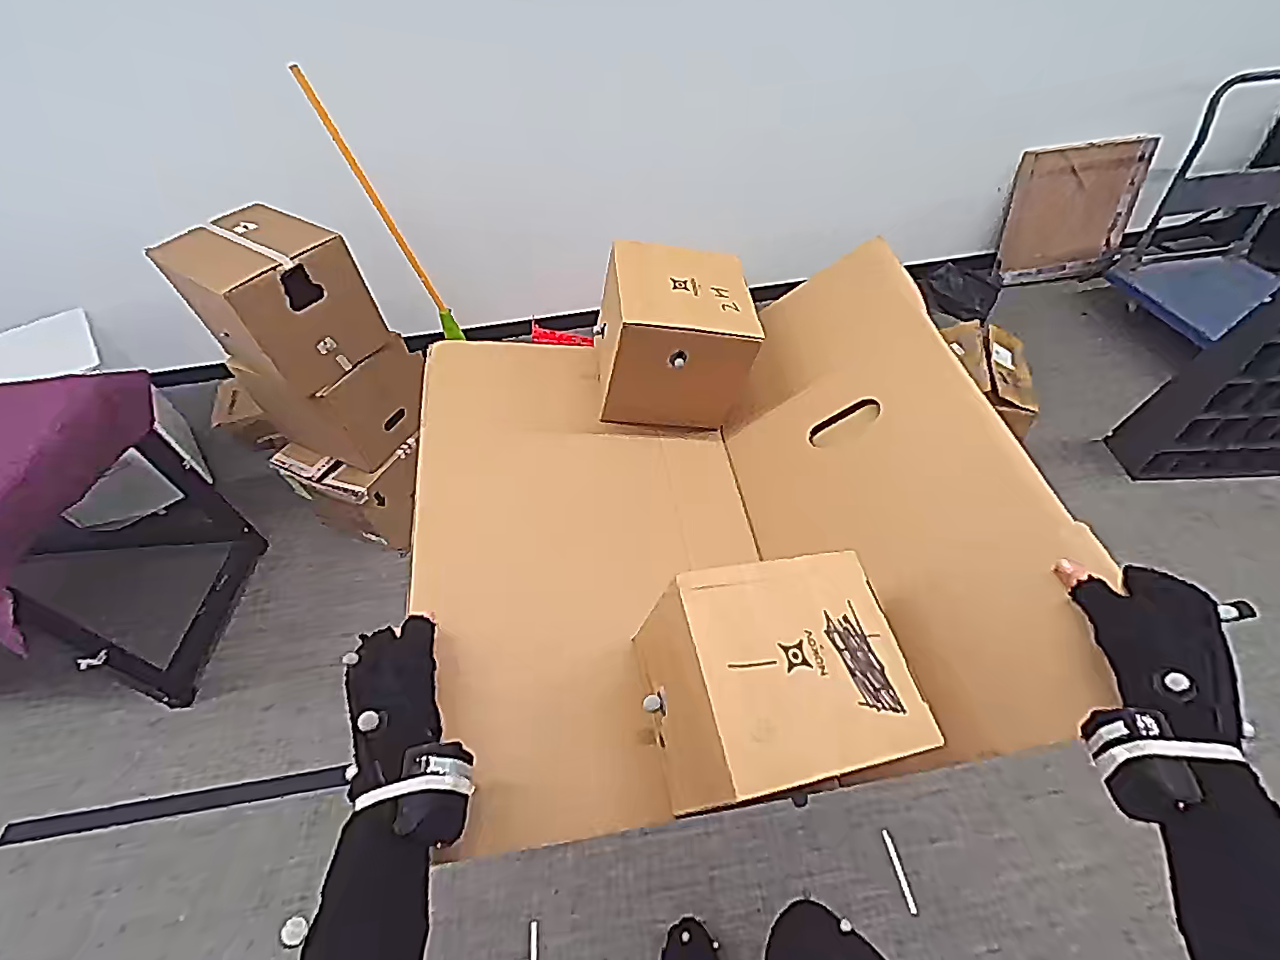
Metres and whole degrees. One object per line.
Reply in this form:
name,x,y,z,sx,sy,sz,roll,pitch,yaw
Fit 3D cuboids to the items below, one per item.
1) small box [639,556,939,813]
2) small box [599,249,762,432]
small box,0.112,0.185,0.488,0.179,0.176,0.168,-5,57,-16
small box,0.039,-0.181,0.732,0.179,0.176,0.168,4,54,-13
